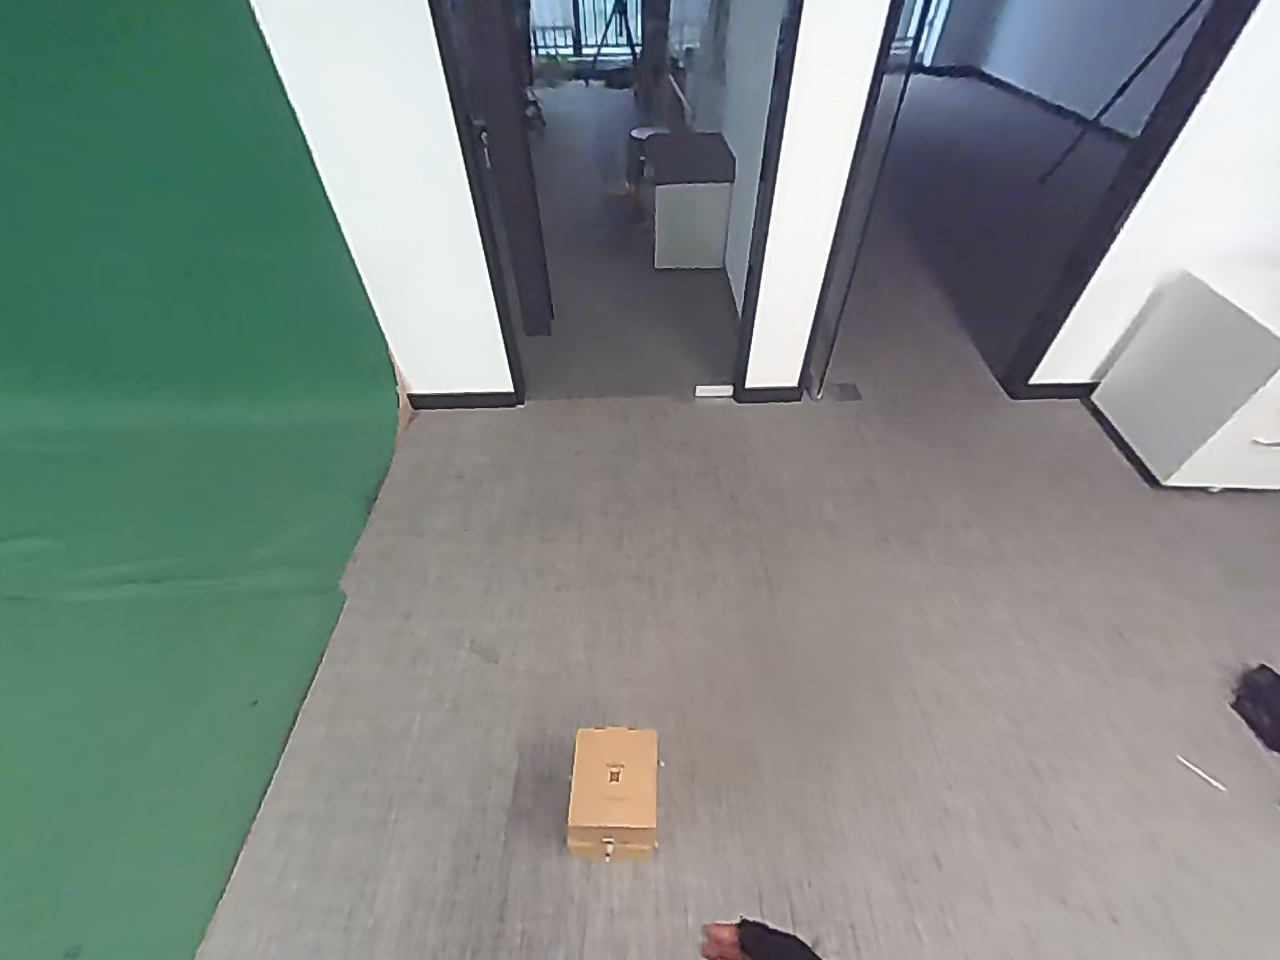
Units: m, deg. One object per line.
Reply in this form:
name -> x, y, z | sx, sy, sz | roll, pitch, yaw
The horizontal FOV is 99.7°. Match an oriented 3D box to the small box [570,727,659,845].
small box -> -0.045, 0.627, 1.108 | 0.168, 0.176, 0.179 | -1, 46, 2

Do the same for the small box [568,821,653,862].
small box -> -0.057, 0.745, 1.218 | 0.179, 0.176, 0.168 | 0, 46, 2
